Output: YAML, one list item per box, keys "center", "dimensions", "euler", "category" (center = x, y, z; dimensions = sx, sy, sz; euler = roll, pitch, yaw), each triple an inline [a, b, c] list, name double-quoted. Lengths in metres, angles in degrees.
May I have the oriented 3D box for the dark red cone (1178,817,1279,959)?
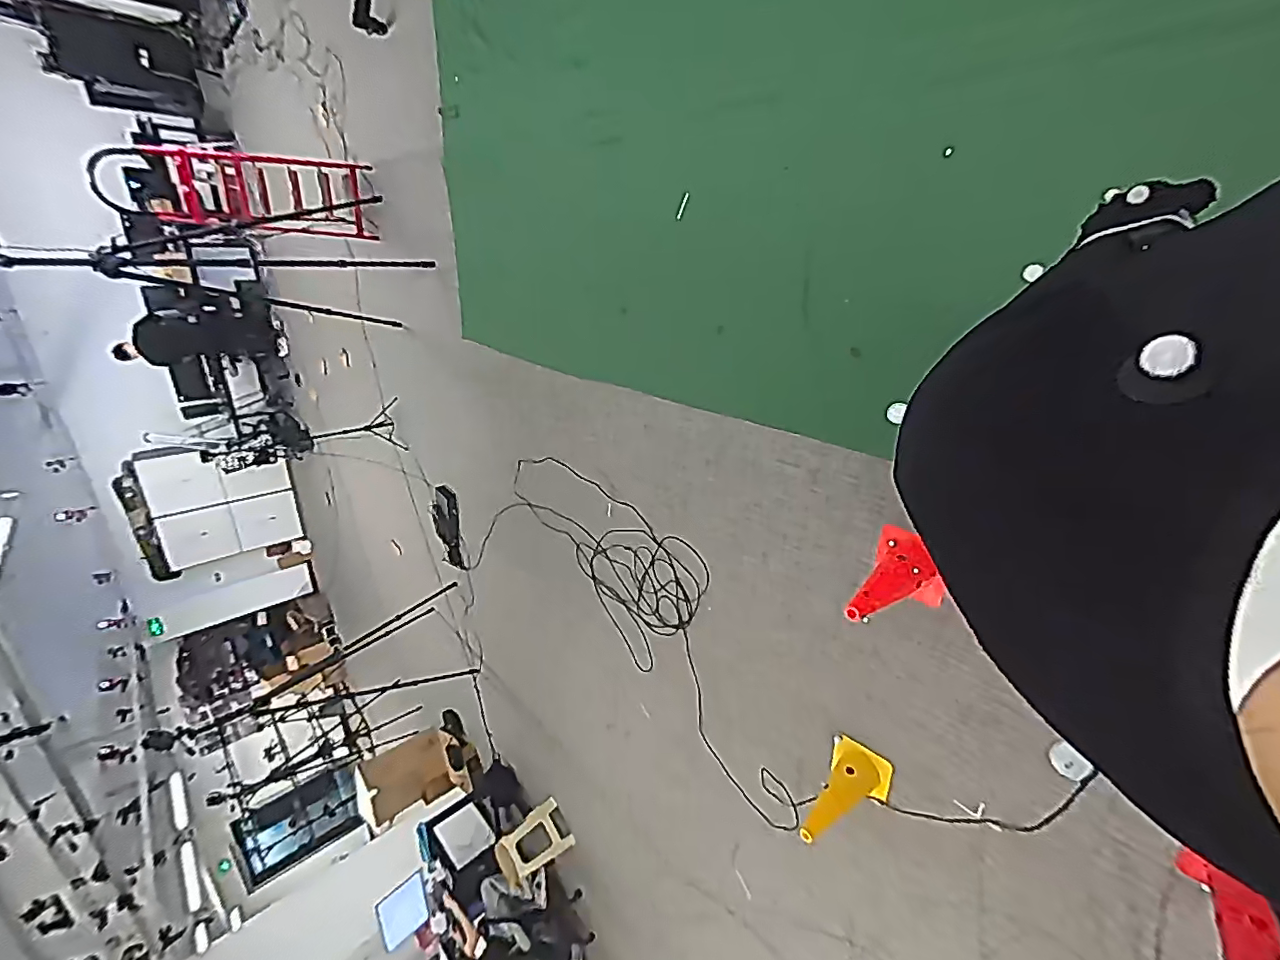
- center: [1.183, 0.882, 1.049]
  dimensions: [0.202, 0.394, 0.201]
  euler: [17, 116, 45]
  category: "dark red cone"

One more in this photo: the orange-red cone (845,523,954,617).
- center: [0.661, 0.282, 1.455]
  dimensions: [0.198, 0.360, 0.199]
  euler: [25, 123, 43]
  category: "orange-red cone"
